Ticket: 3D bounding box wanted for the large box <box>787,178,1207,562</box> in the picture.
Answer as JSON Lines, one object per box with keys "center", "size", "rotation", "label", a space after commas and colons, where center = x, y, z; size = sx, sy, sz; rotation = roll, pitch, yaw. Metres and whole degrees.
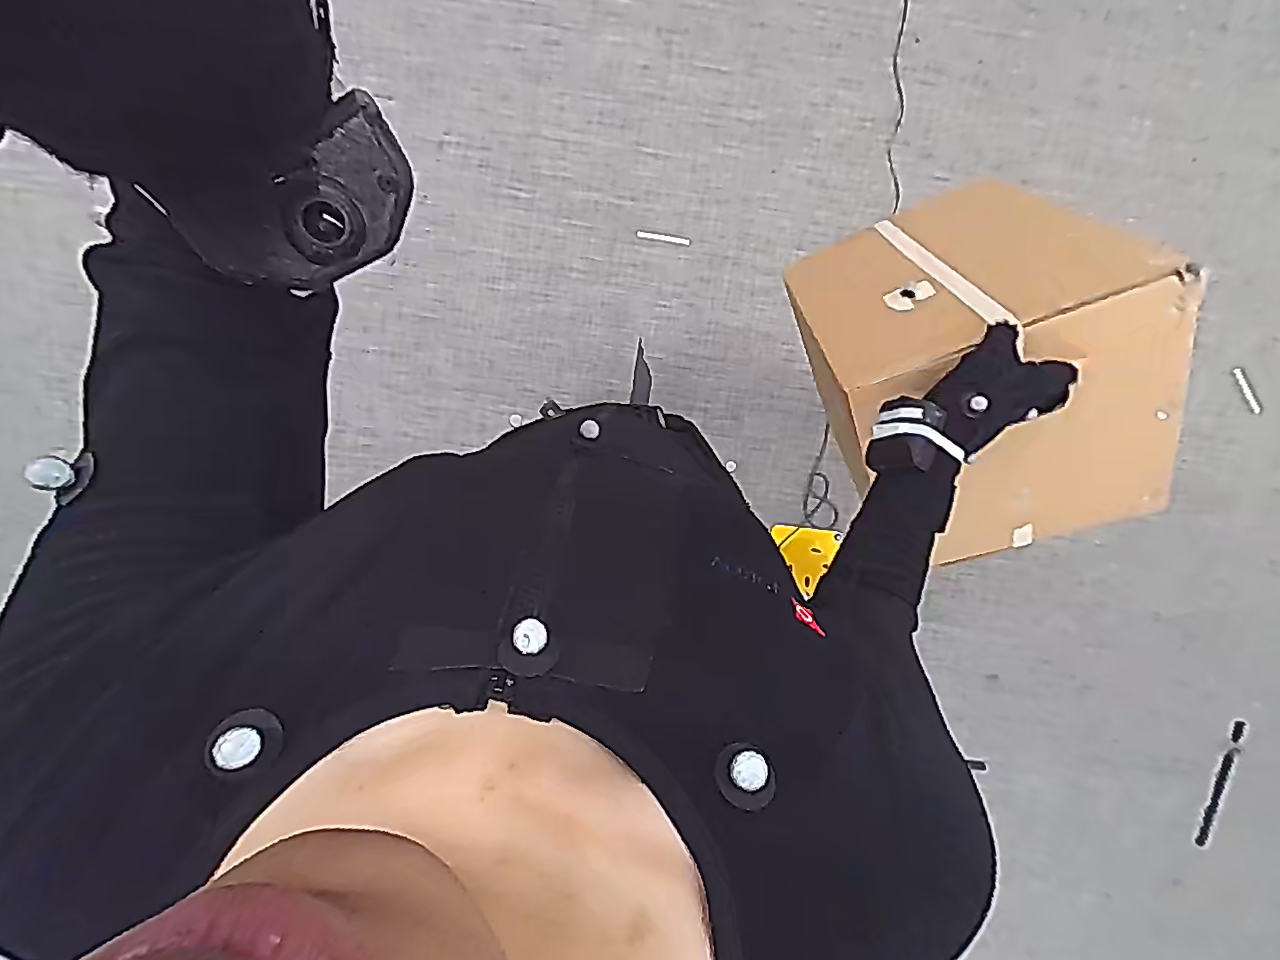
{"center": [0.425, -0.159, 0.756], "size": [0.320, 0.408, 0.320], "rotation": [-17, 128, 17], "label": "large box"}
